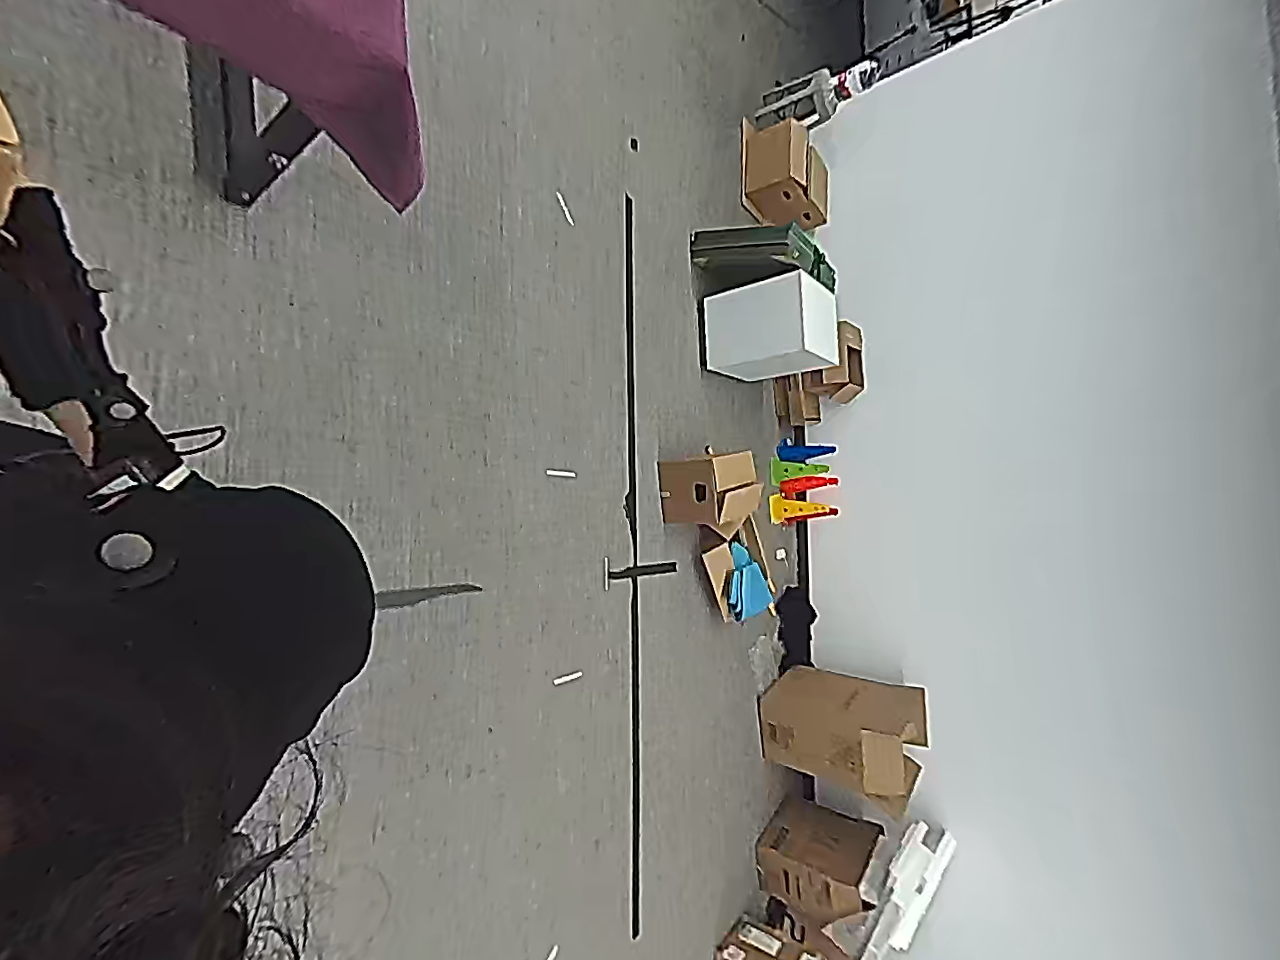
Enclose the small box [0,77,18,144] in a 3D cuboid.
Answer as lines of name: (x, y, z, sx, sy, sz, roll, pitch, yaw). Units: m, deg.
small box: (-0.469, -0.220, 0.263, 0.168, 0.176, 0.179, -27, 92, -60)
